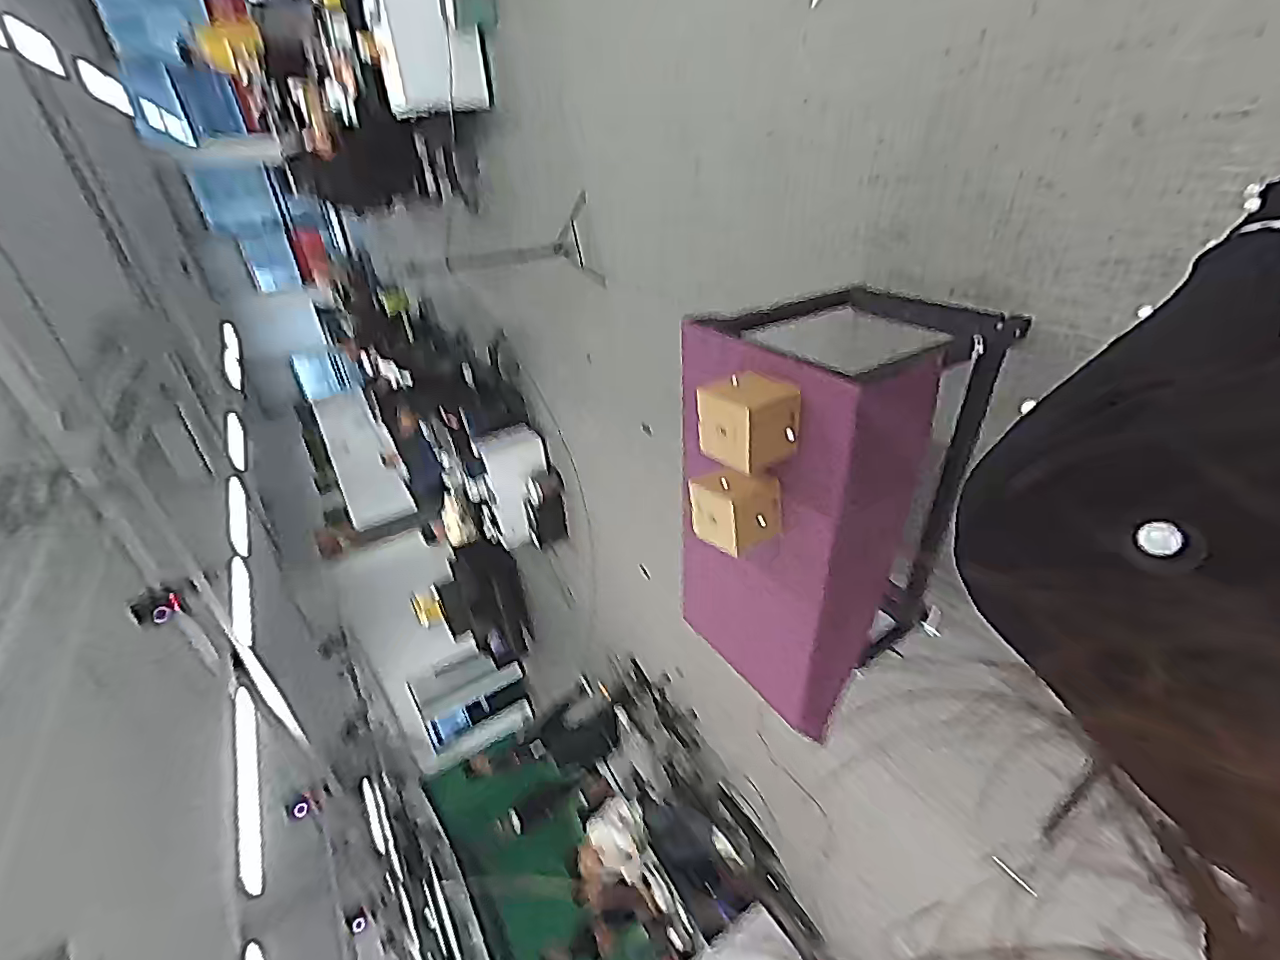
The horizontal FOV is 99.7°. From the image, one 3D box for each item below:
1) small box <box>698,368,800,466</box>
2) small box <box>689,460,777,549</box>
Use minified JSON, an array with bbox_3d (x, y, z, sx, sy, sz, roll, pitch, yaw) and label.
[{"bbox_3d":[0.258,-0.161,1.302,0.179,0.176,0.168,36,140,48],"label":"small box"},{"bbox_3d":[0.257,0.055,1.468,0.179,0.176,0.168,29,134,52],"label":"small box"}]
